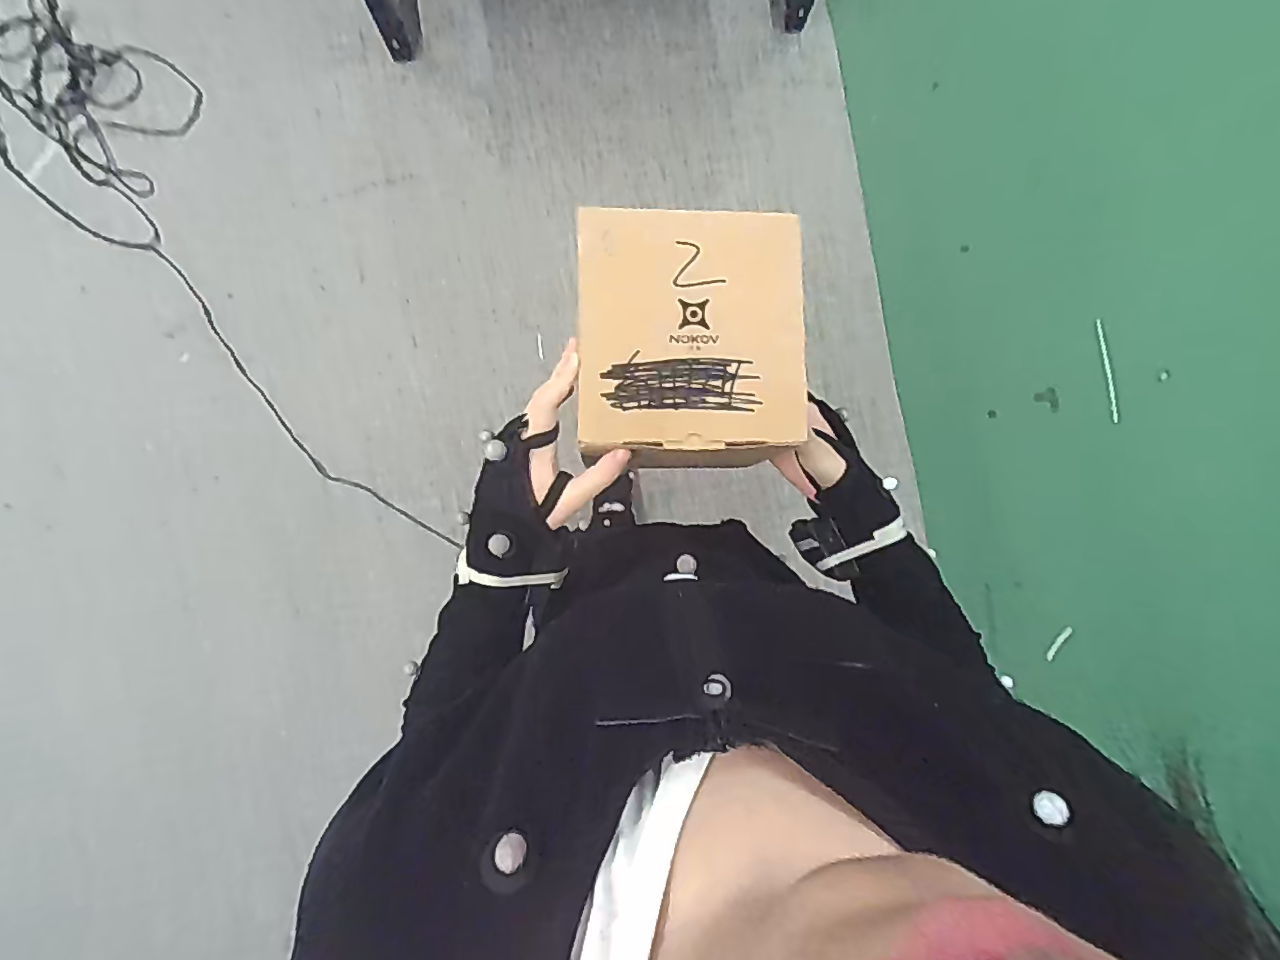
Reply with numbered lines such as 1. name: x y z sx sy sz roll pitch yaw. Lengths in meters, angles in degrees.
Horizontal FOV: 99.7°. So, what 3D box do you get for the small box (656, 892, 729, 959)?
1. small box: 0.140 1.230 1.404 0.168 0.176 0.179 -10 88 -5
